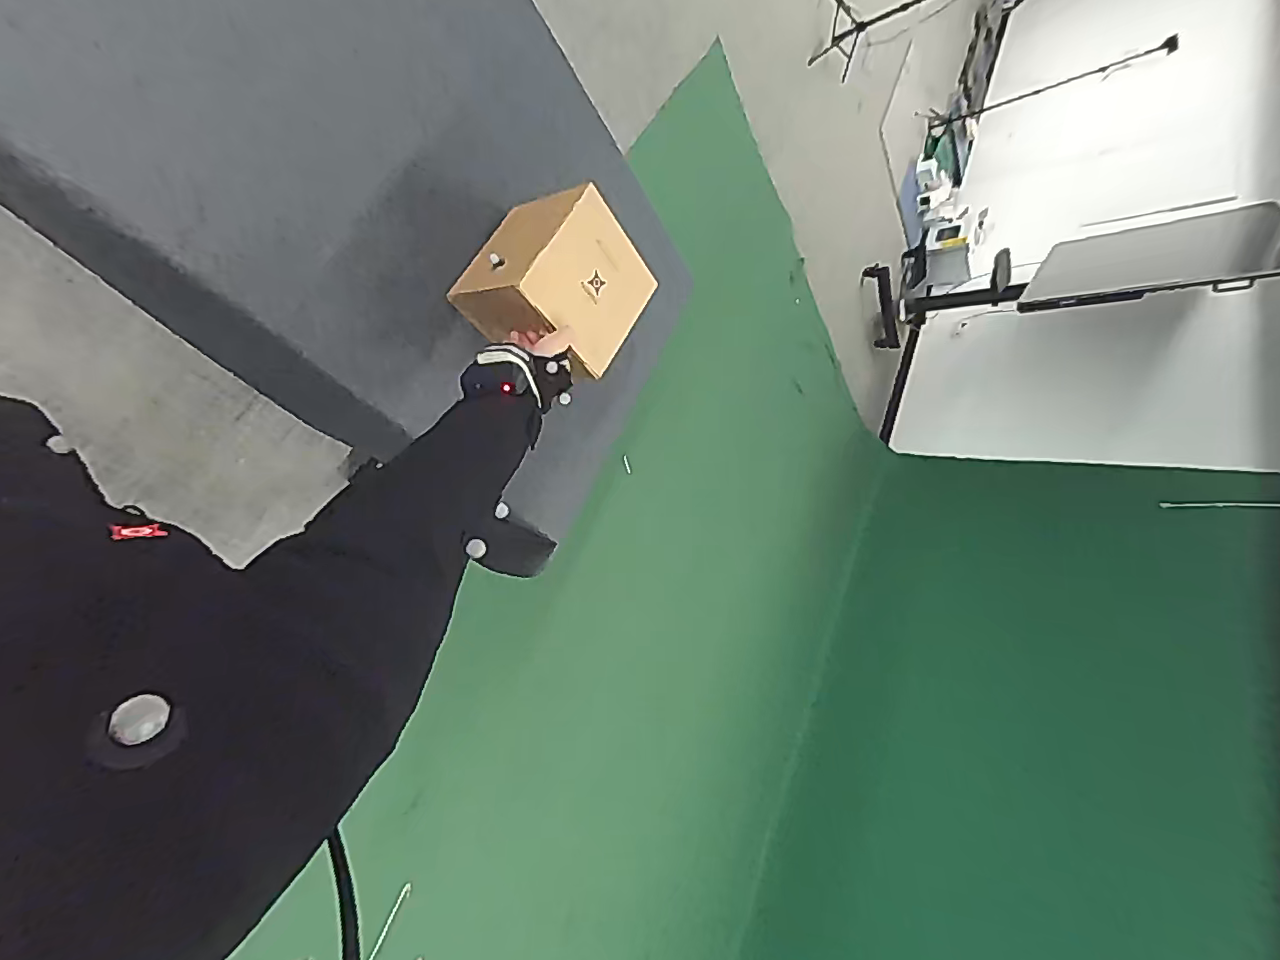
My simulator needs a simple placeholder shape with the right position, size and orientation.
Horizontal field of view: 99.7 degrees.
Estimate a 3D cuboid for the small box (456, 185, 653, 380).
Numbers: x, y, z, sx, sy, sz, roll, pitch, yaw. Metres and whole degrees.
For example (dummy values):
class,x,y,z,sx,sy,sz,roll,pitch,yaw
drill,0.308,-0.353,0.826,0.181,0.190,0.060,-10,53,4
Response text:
class,x,y,z,sx,sy,sz,roll,pitch,yaw
small box,-0.119,-0.254,0.732,0.168,0.176,0.179,45,65,-44
